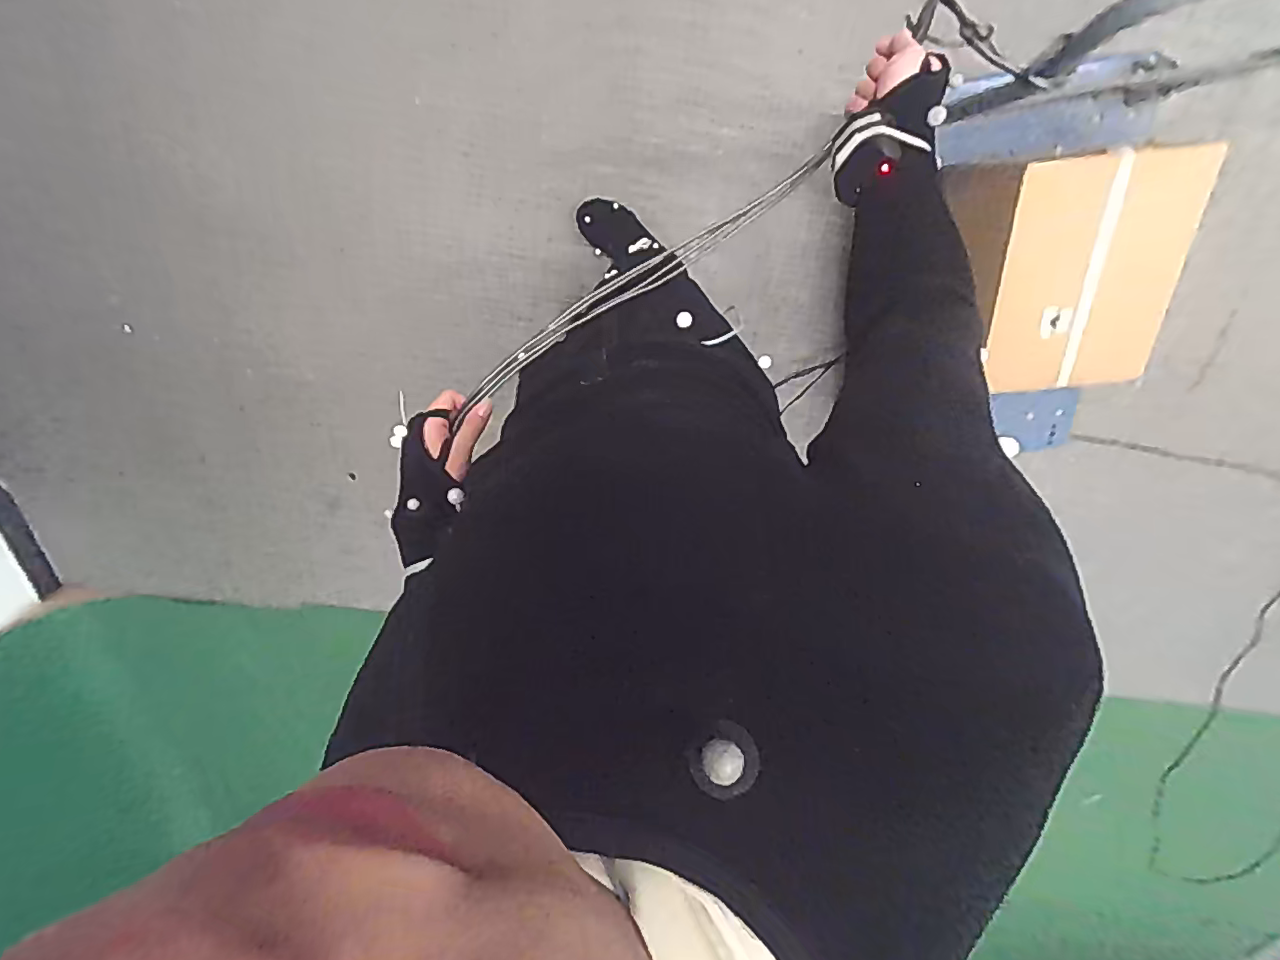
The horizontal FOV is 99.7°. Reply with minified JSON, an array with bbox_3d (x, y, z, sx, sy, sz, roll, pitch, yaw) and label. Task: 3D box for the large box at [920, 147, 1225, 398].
[{"bbox_3d":[0.813,-0.423,1.099,0.320,0.320,0.408,-4,121,5],"label":"large box"}]
